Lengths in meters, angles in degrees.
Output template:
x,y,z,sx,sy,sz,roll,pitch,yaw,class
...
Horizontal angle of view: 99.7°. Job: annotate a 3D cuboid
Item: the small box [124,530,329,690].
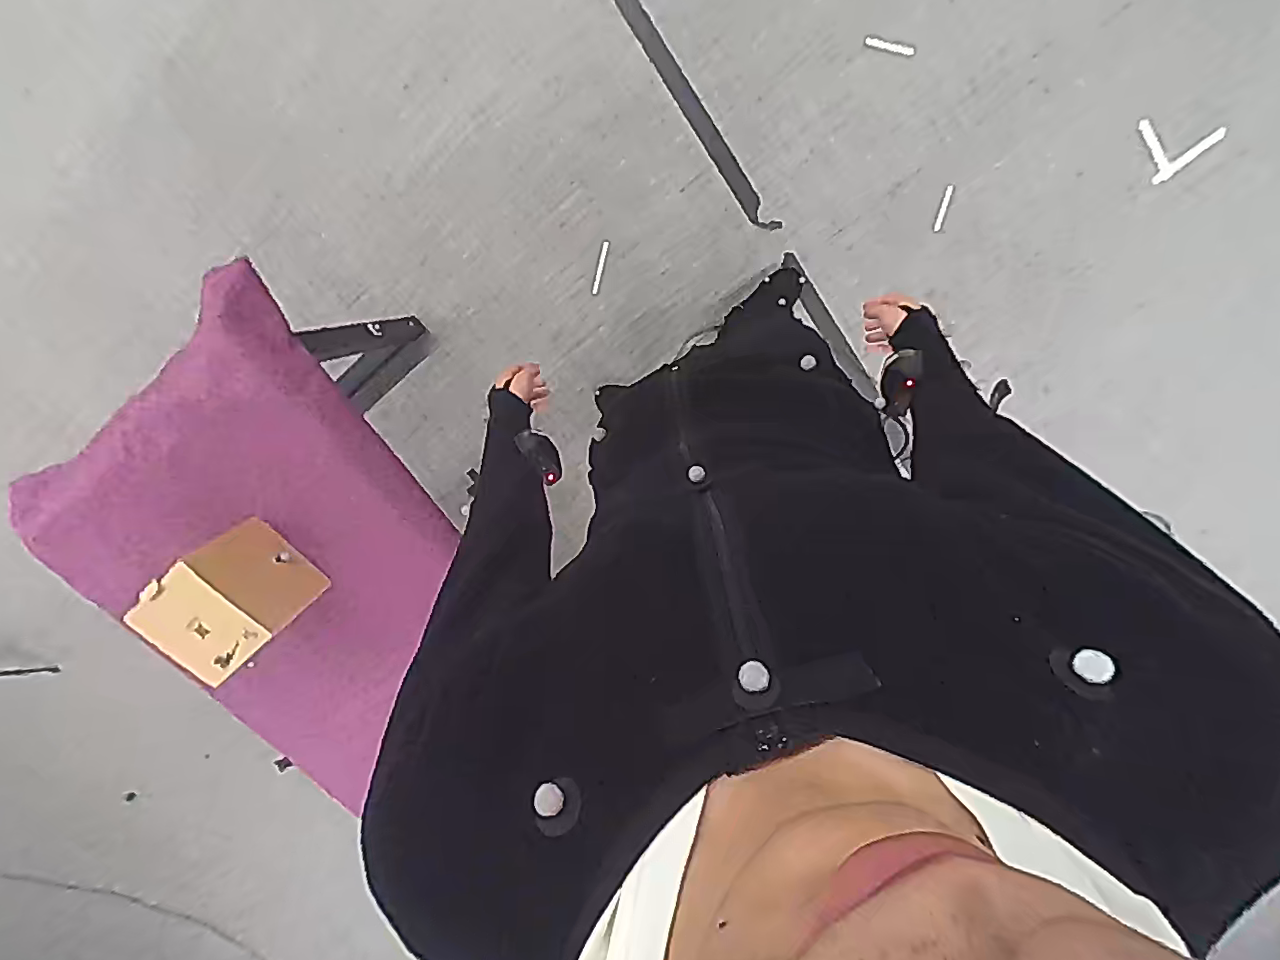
x,y,z,sx,sy,sz,roll,pitch,yaw,class
-0.682,0.205,0.913,0.168,0.176,0.179,-38,103,15,small box
